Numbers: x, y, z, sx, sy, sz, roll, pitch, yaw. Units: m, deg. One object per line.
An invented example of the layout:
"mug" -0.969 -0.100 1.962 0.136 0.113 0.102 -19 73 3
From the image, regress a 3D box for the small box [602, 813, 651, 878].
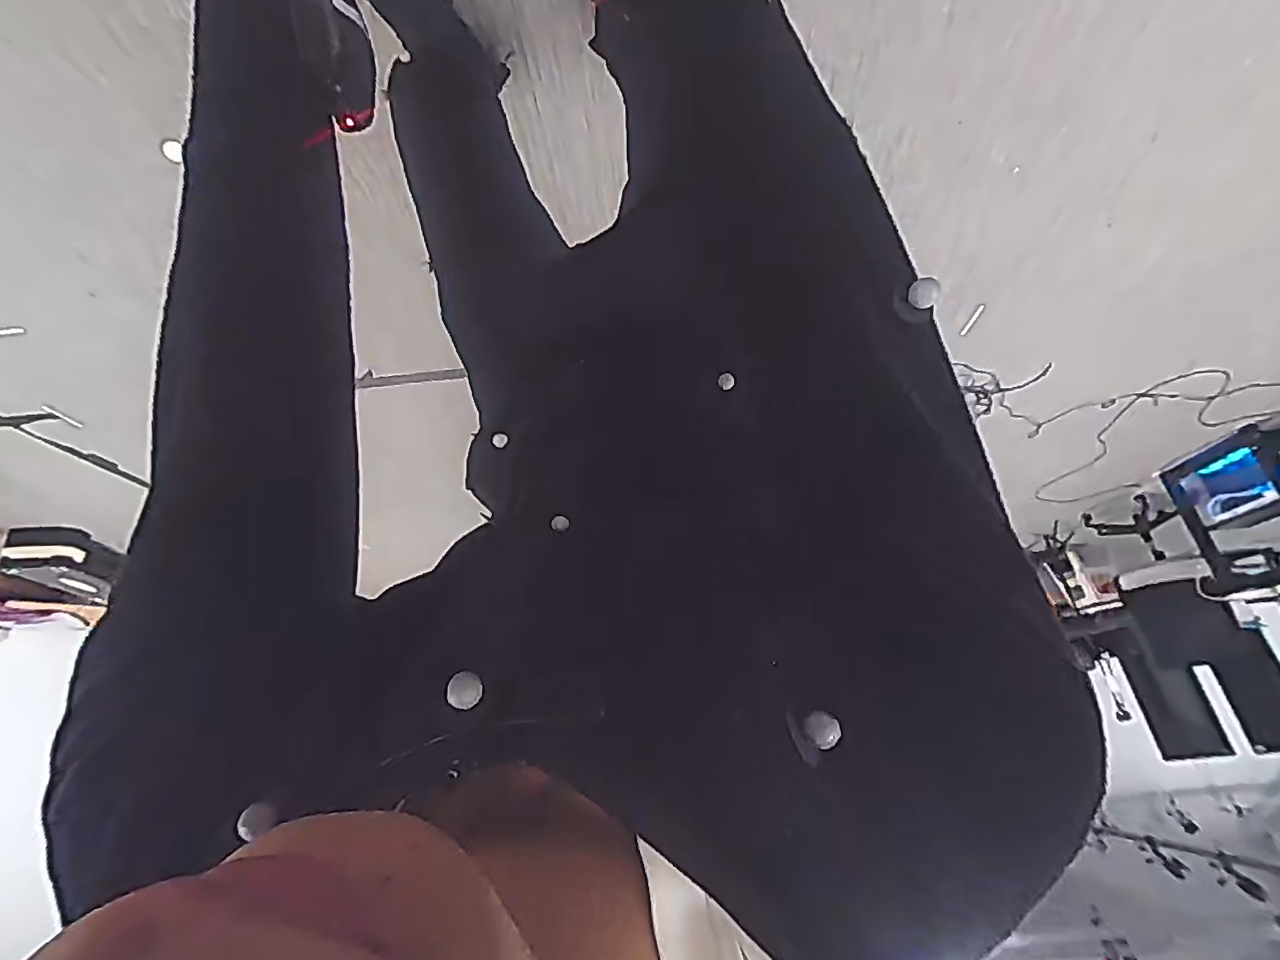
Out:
"small box" -0.051 1.419 2.108 0.168 0.176 0.179 -7 157 2

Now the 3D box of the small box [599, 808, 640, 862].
"small box" -0.082 1.515 2.315 0.168 0.176 0.179 -6 154 1
